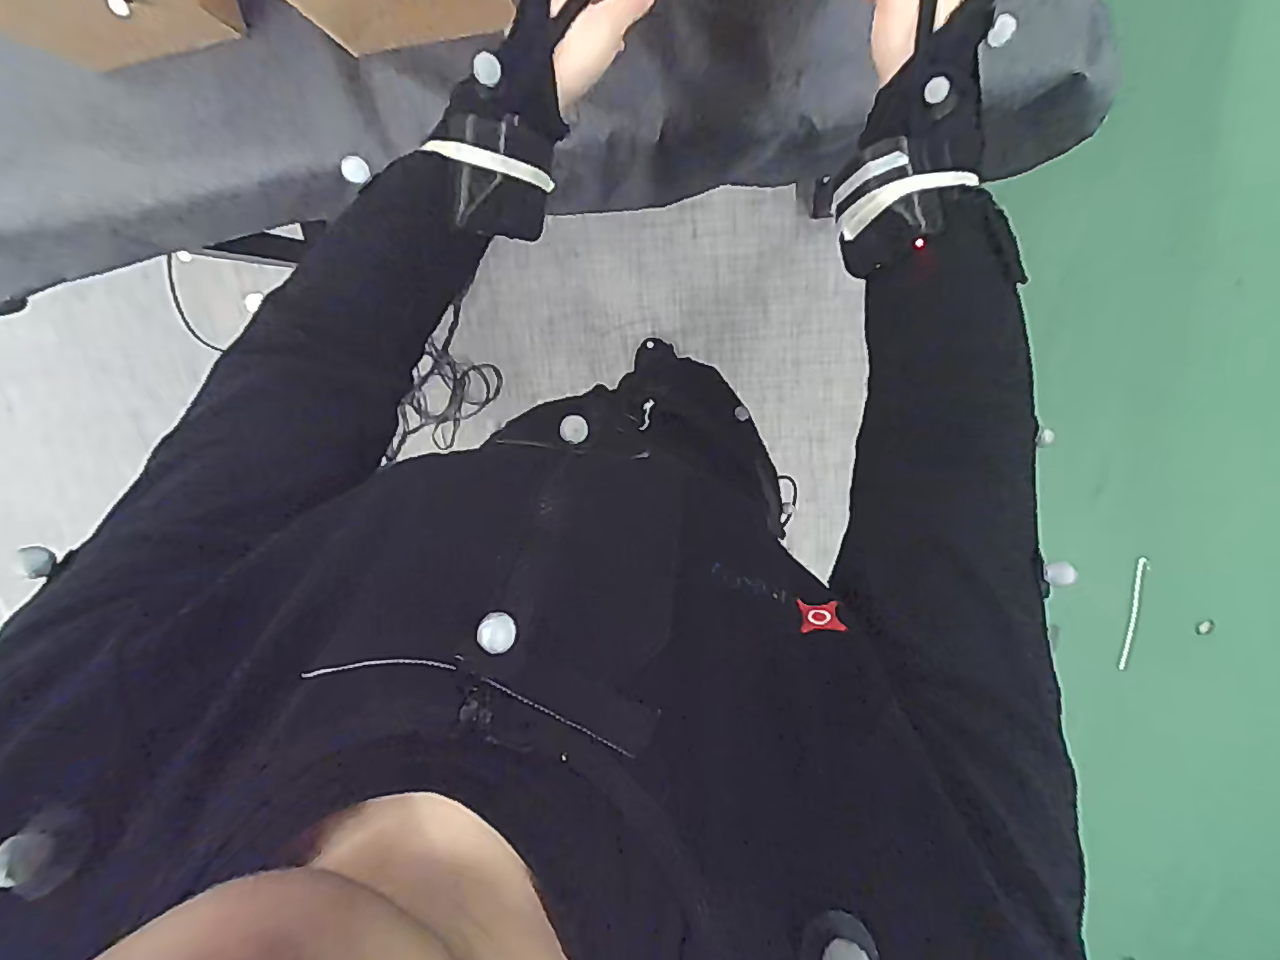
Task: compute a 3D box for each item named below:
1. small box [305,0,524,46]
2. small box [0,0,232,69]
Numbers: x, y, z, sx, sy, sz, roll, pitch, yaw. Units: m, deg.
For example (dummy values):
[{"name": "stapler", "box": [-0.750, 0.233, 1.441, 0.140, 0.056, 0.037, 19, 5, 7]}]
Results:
[{"name": "small box", "box": [-0.204, -0.472, 0.410, 0.179, 0.176, 0.168, -6, 105, 5]}, {"name": "small box", "box": [-0.474, -0.471, 0.430, 0.179, 0.176, 0.168, -7, 104, 7]}]
